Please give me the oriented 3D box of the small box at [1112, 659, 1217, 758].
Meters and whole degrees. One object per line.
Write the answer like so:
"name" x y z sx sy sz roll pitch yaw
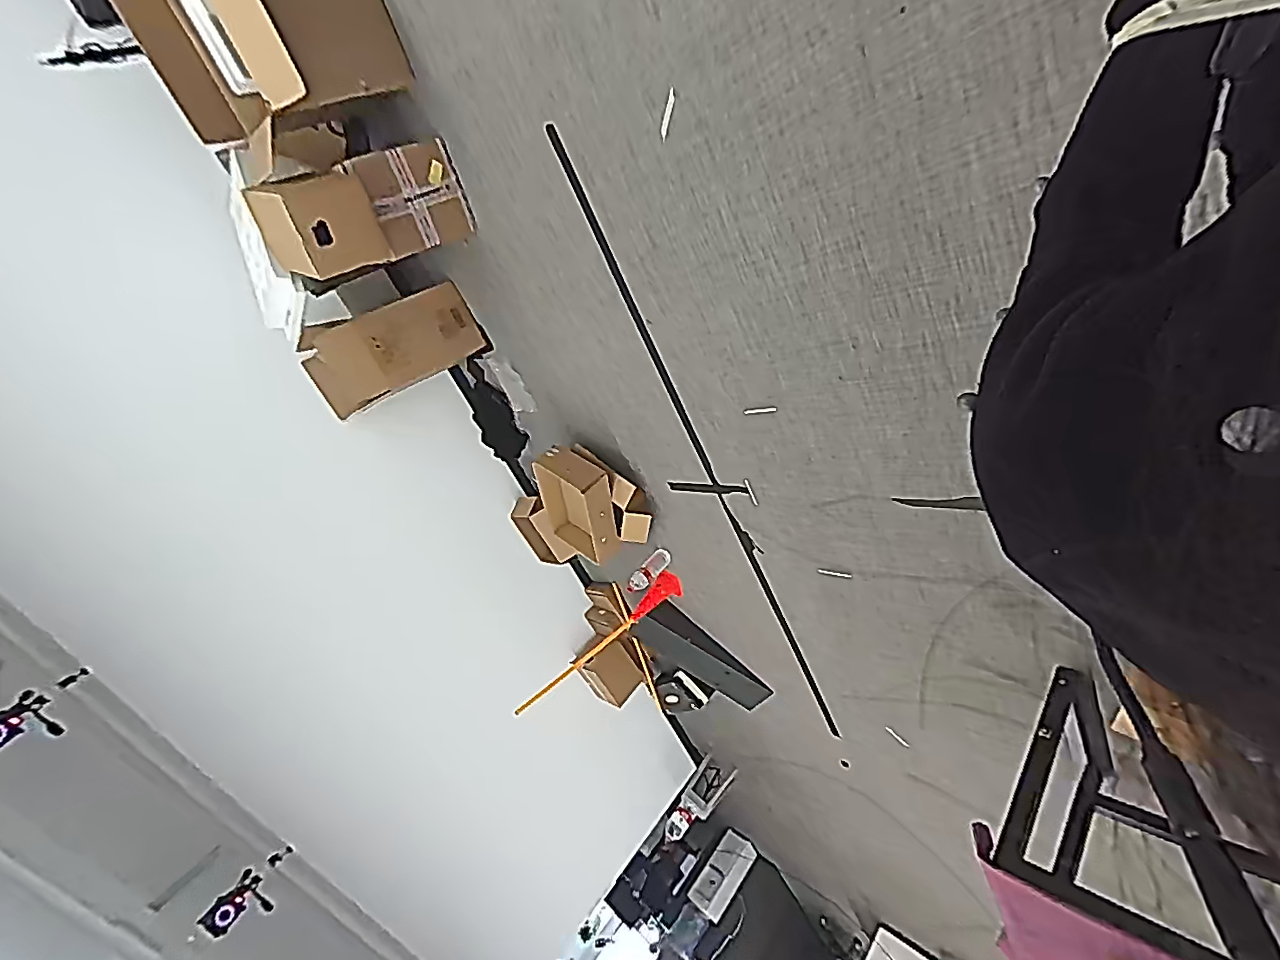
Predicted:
"small box" 1.510 0.648 1.558 0.179 0.176 0.168 19 138 39
